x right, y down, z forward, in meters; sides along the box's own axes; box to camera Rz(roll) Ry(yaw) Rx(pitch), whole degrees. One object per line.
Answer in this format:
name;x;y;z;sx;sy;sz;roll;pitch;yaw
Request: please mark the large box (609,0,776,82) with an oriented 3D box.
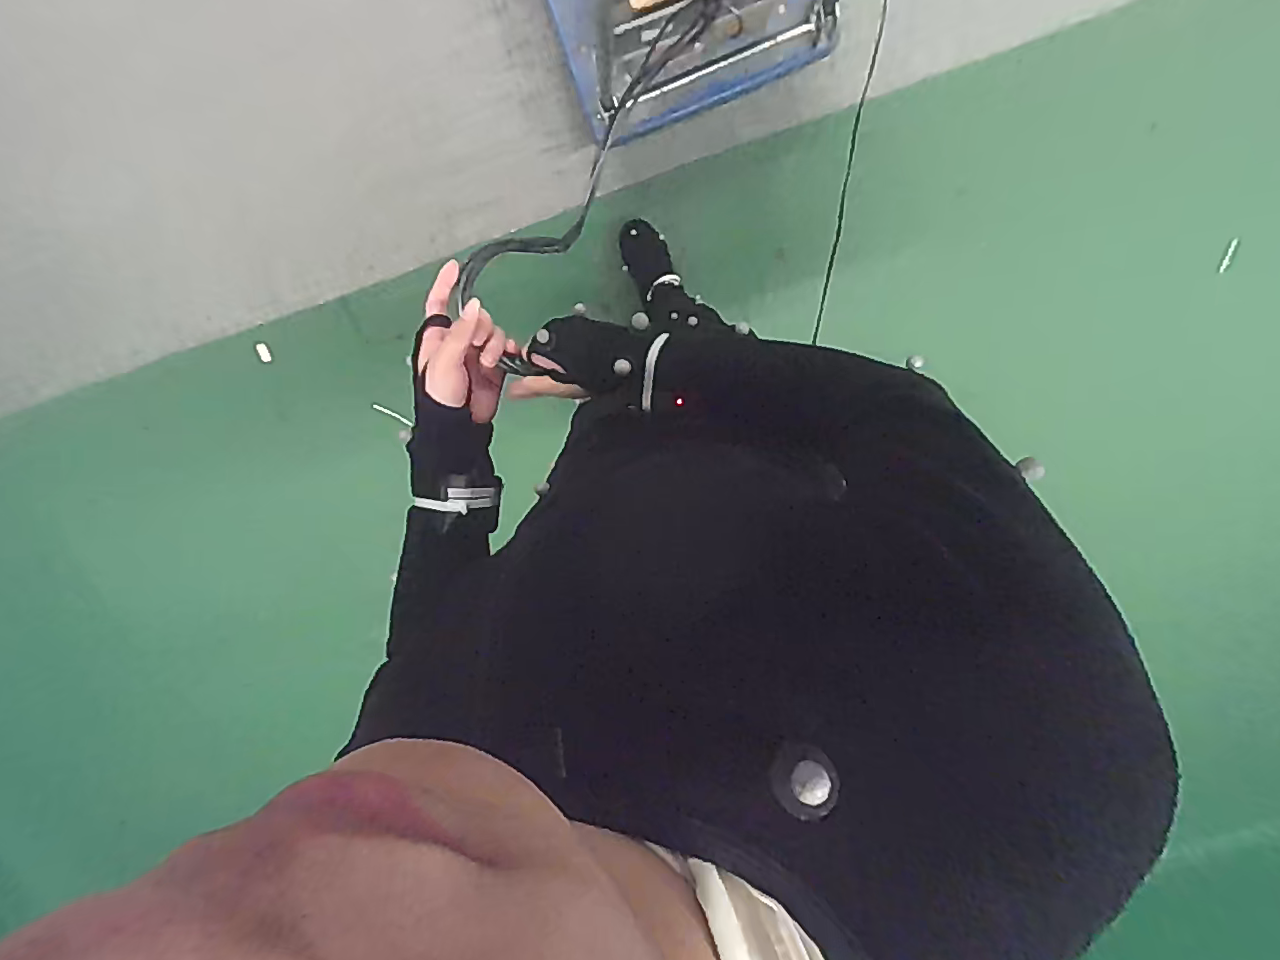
large box;0.061;-1.053;0.980;0.320;0.320;0.408;-19;107;5
